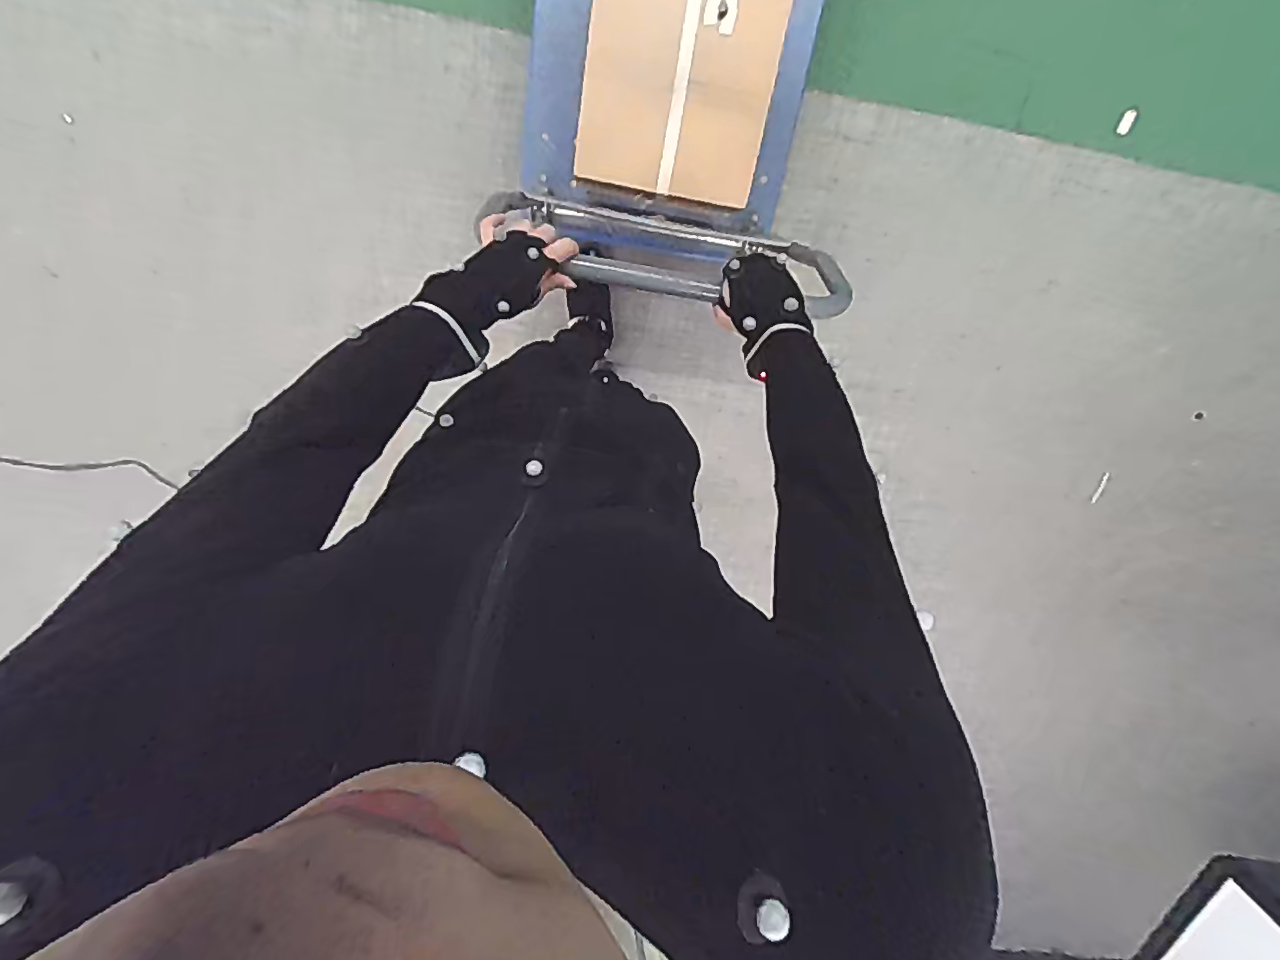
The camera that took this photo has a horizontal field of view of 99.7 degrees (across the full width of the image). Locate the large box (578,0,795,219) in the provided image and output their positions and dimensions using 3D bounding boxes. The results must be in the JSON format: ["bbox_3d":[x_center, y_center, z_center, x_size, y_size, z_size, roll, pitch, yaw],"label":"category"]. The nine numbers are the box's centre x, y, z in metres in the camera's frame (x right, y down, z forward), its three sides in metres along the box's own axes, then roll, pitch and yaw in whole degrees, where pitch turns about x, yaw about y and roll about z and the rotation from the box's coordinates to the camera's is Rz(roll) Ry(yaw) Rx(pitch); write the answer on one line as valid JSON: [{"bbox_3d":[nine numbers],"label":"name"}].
[{"bbox_3d":[0.071,-0.736,1.014,0.320,0.320,0.408,8,113,-6],"label":"large box"}]
